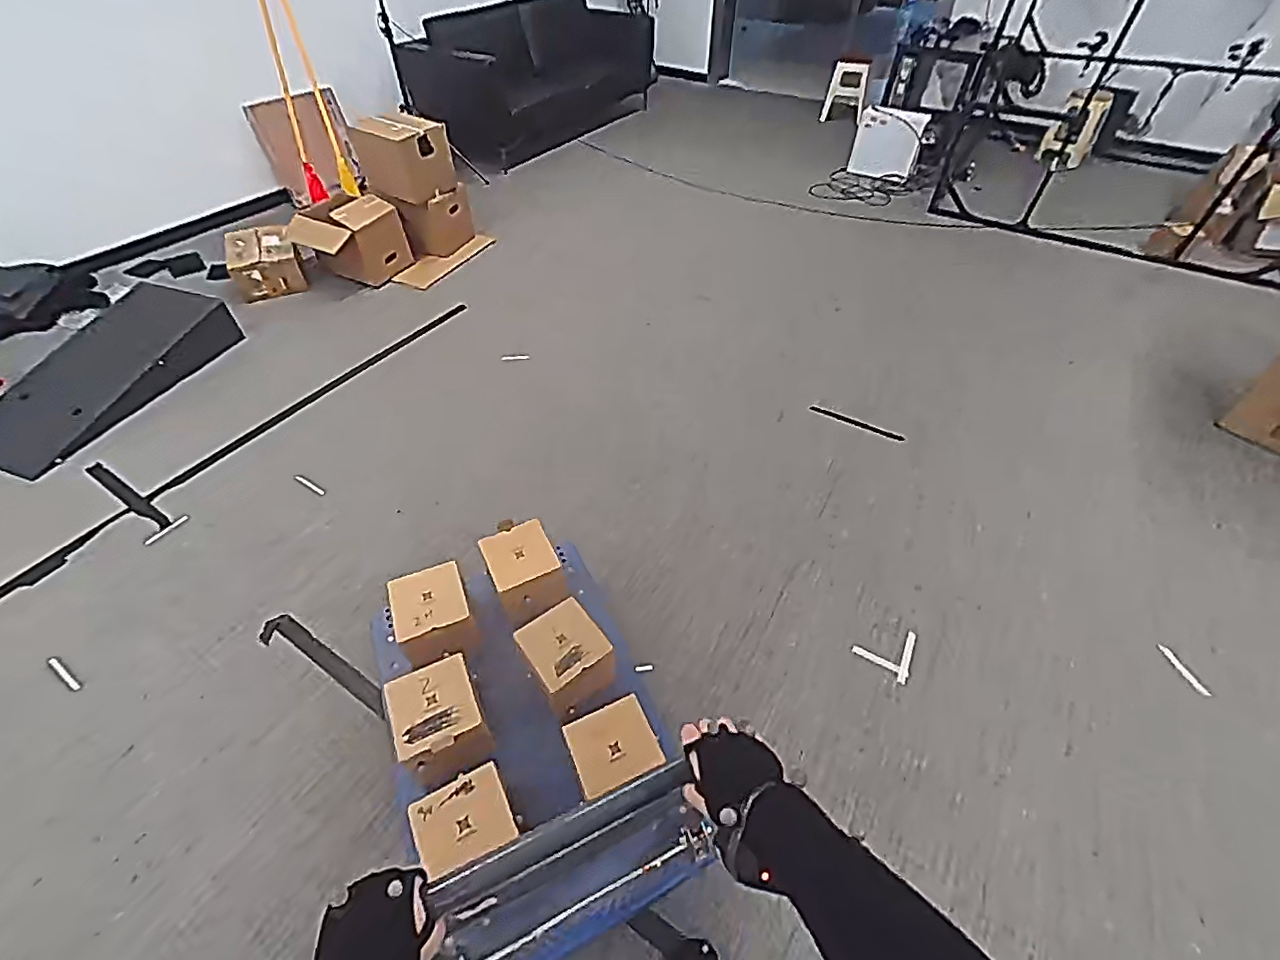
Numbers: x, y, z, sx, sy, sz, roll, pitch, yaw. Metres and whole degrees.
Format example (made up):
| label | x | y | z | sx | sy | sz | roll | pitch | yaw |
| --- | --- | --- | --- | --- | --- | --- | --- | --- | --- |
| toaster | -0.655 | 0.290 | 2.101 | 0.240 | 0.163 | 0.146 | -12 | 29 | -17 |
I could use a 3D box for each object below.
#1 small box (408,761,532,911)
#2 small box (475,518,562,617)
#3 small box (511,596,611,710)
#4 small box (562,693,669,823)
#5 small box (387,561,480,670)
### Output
| label | x | y | z | sx | sy | sz | roll | pitch | yaw |
| --- | --- | --- | --- | --- | --- | --- | --- | --- | --- |
| small box | -0.317 | 0.679 | 1.030 | 0.168 | 0.176 | 0.179 | -21 | 52 | -22 |
| small box | -0.316 | 0.239 | 1.434 | 0.168 | 0.176 | 0.179 | -22 | 52 | -20 |
| small box | -0.180 | 0.416 | 1.277 | 0.168 | 0.176 | 0.179 | -30 | 55 | -26 |
| small box | -0.052 | 0.586 | 1.130 | 0.168 | 0.176 | 0.179 | -18 | 50 | -19 |
| small box | -0.507 | 0.335 | 1.336 | 0.168 | 0.176 | 0.179 | -18 | 52 | -17 |
